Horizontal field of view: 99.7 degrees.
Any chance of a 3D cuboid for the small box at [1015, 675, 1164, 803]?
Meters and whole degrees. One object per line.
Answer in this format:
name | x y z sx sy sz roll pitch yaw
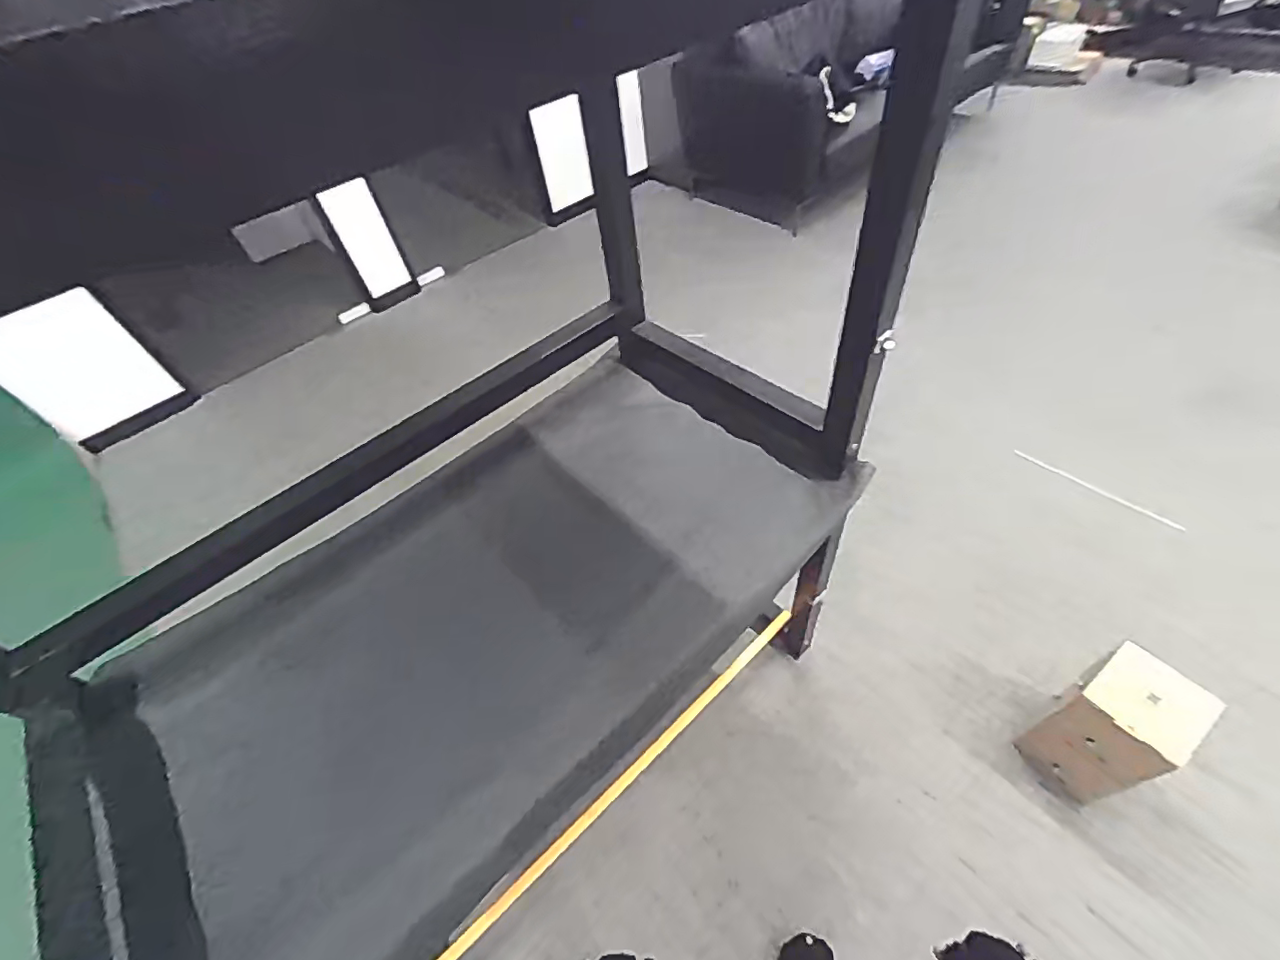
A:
small box | 0.982 0.576 1.199 0.179 0.176 0.168 -33 52 -17
